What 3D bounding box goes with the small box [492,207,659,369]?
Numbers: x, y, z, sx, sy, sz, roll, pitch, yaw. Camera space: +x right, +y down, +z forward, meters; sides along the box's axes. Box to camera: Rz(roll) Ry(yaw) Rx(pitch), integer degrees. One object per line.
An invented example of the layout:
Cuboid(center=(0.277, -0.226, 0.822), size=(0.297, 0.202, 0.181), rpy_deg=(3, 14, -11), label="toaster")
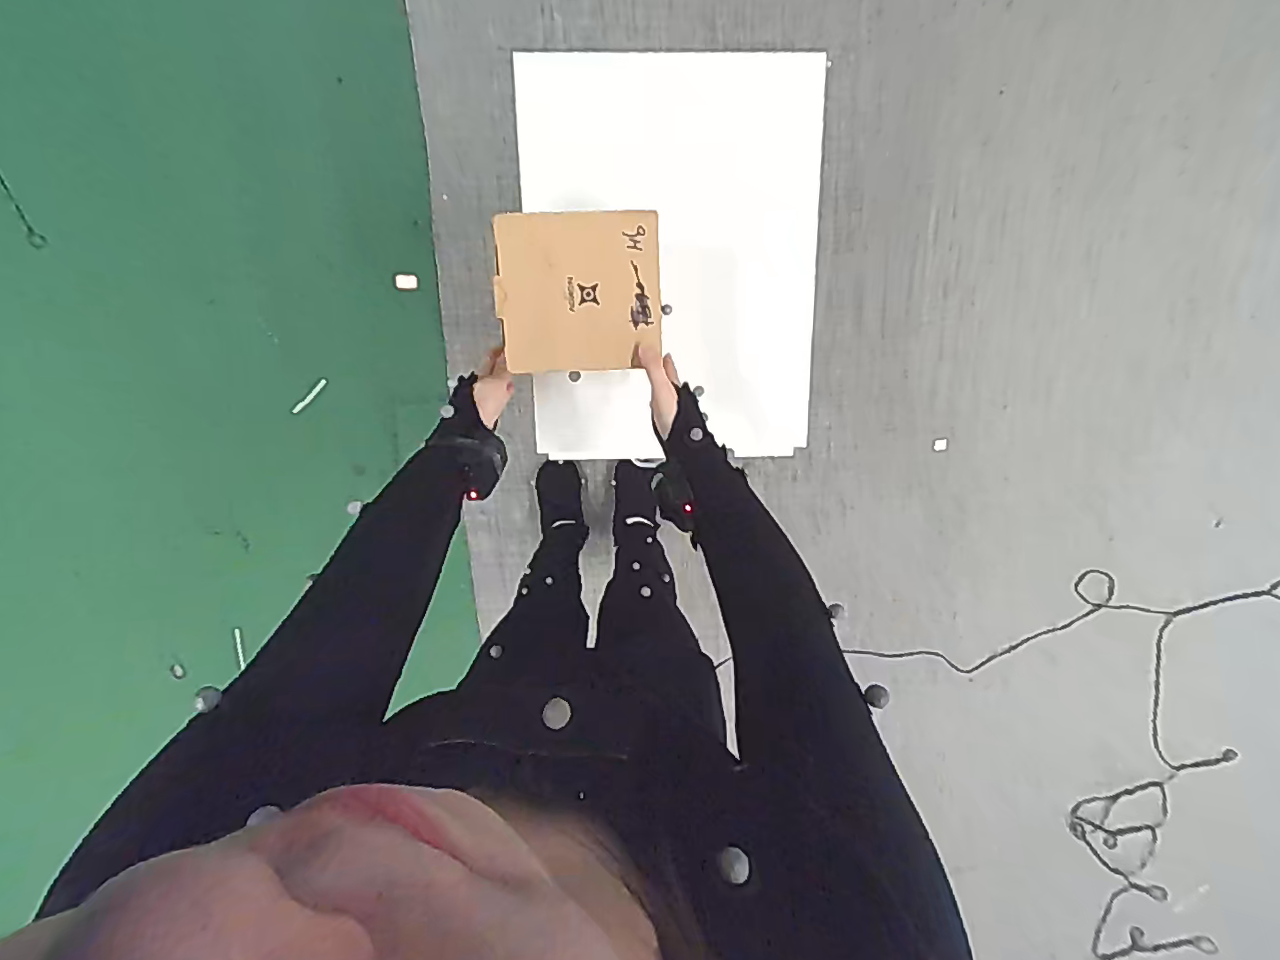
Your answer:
Cuboid(center=(-0.071, -0.222, 0.661), size=(0.179, 0.176, 0.168), rpy_deg=(-3, 102, -3), label="small box")
